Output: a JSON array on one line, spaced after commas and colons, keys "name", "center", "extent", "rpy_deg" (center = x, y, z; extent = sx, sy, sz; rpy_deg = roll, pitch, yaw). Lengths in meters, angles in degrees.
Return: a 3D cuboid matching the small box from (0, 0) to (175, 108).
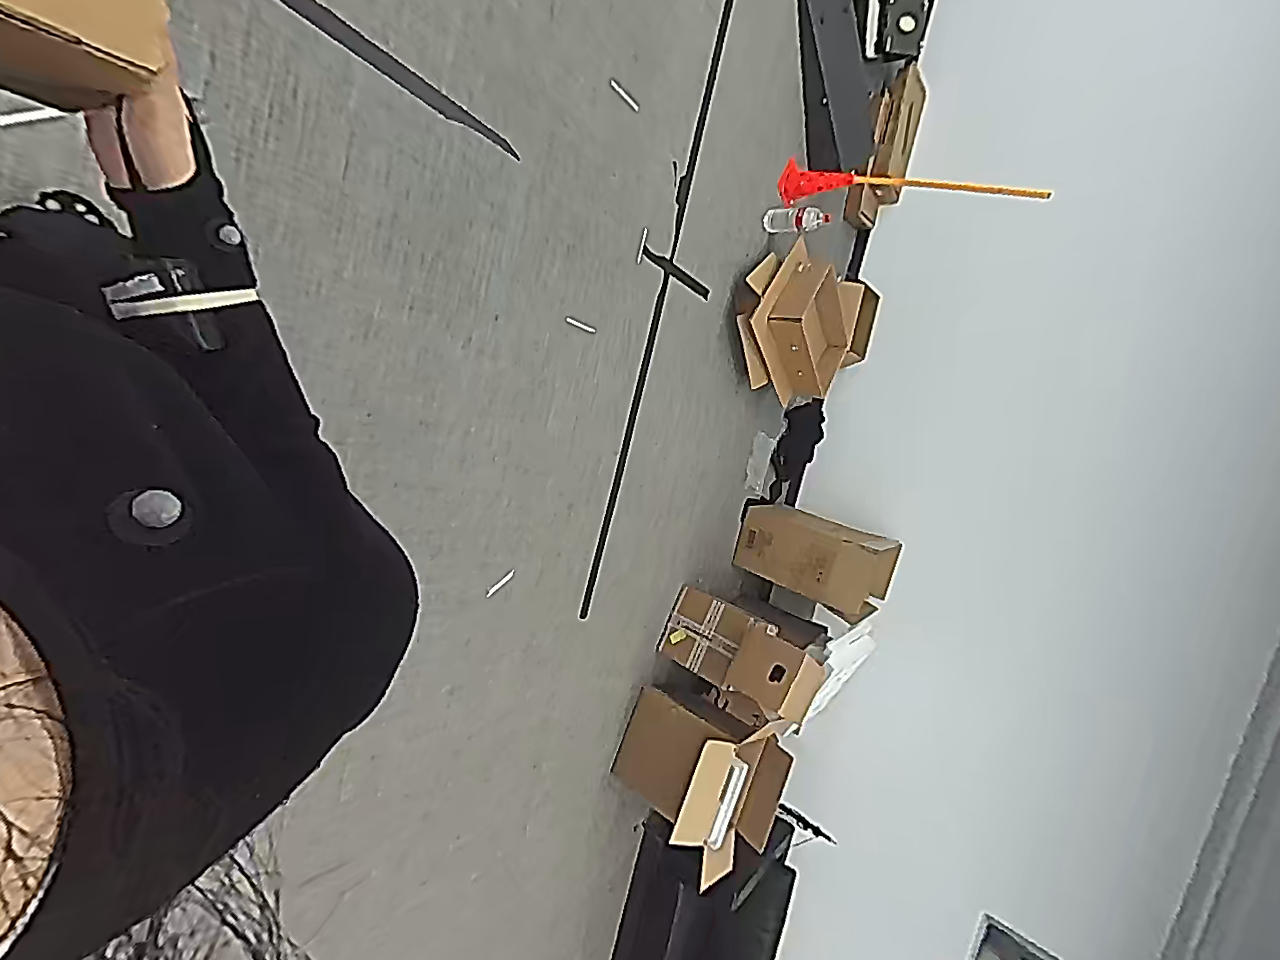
[{"name": "small box", "center": [-0.345, -0.305, 0.248], "extent": [0.168, 0.176, 0.179], "rpy_deg": [-7, 111, -57]}]
